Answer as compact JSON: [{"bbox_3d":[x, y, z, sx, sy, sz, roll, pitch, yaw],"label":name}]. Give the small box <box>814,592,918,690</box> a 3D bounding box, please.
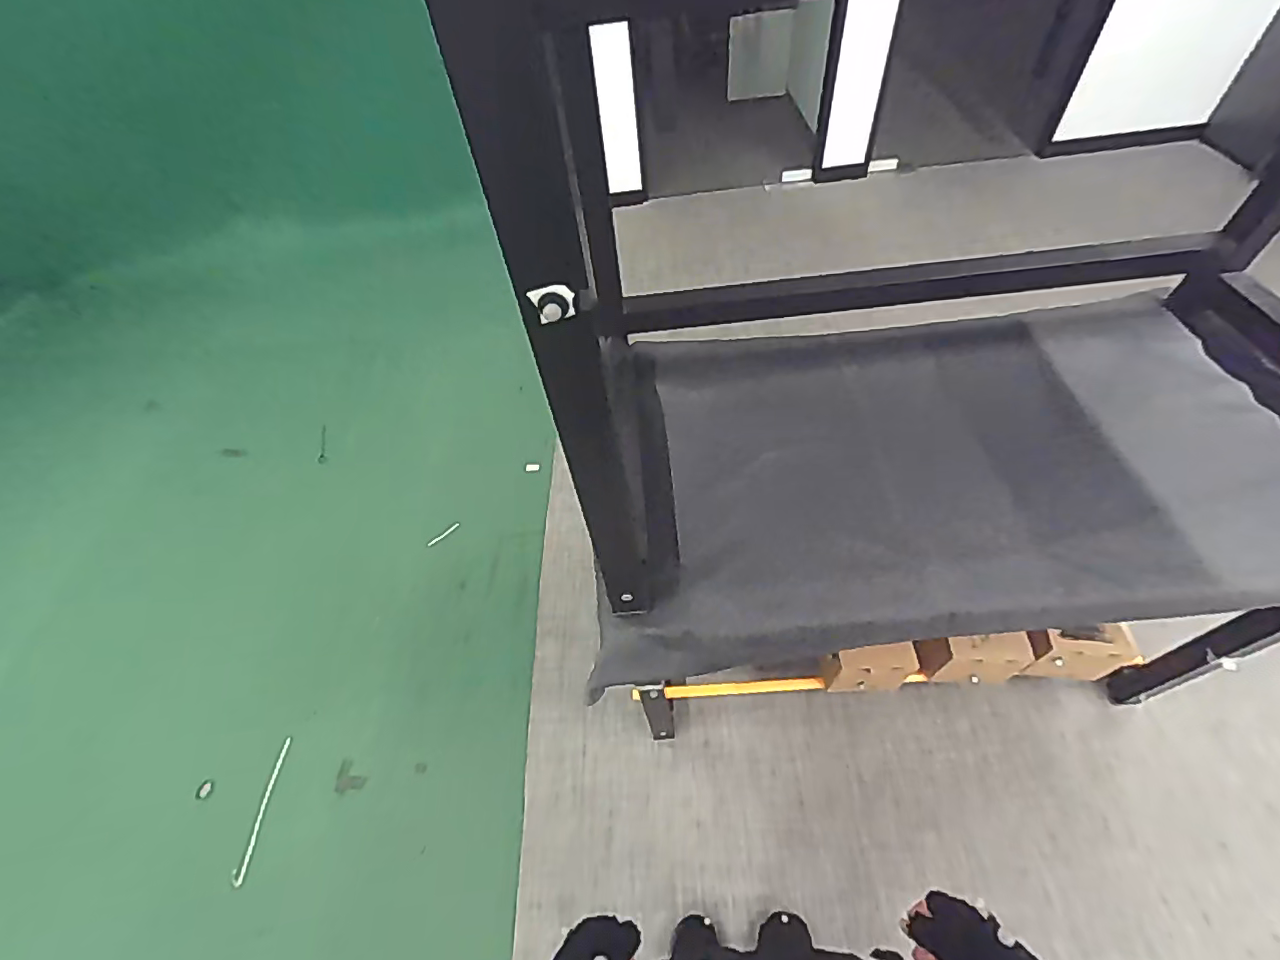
[{"bbox_3d":[0.516,0.379,1.264,0.168,0.176,0.179,-4,55,4],"label":"small box"}]
